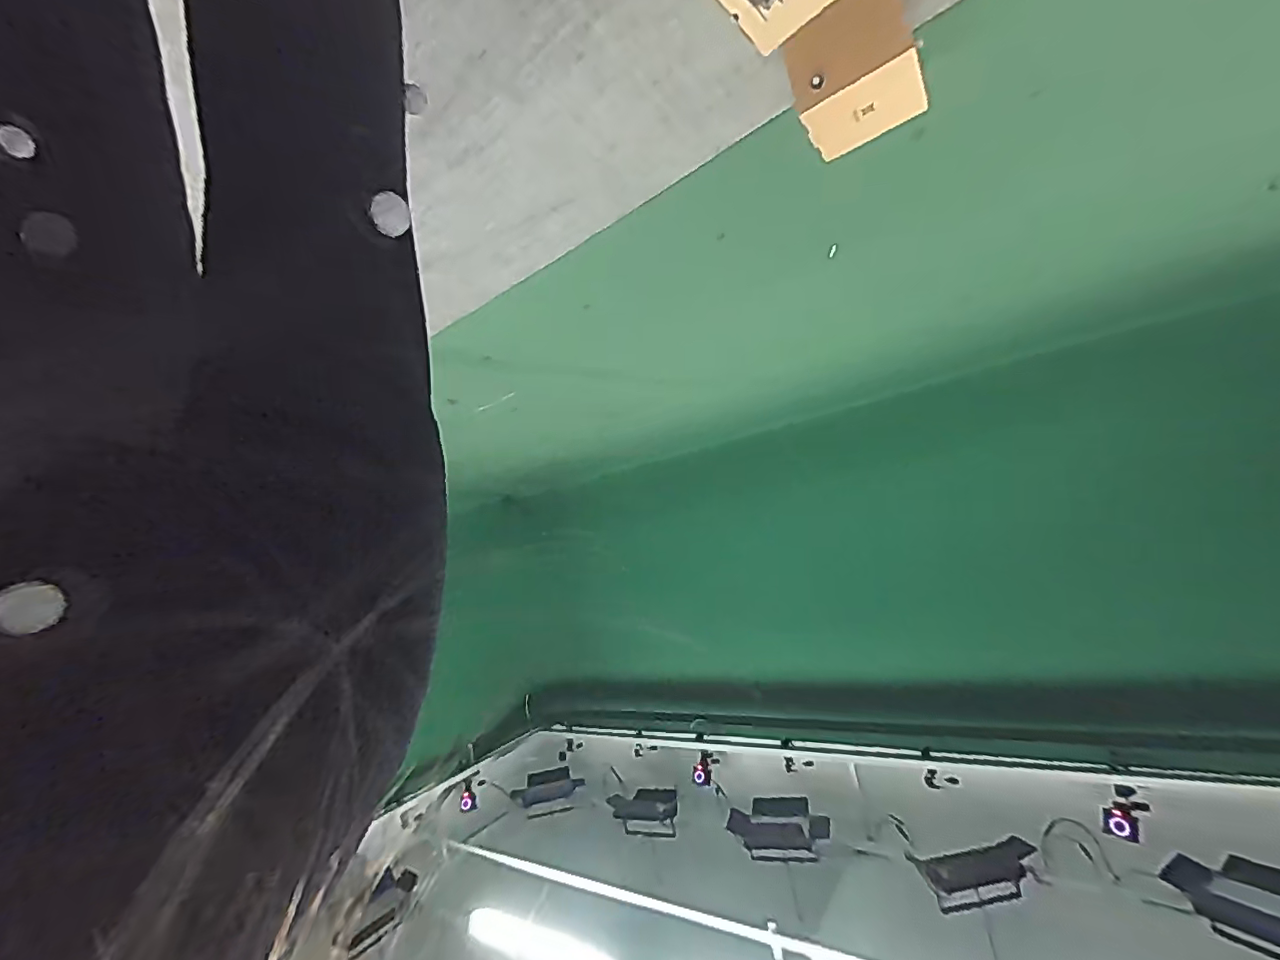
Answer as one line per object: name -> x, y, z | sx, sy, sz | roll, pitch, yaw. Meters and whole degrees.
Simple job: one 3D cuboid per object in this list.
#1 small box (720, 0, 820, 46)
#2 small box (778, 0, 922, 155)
small box -> 0.160, -0.686, 0.634 | 0.179, 0.176, 0.168 | -16, 173, 39
small box -> 0.347, -0.698, 0.898 | 0.179, 0.176, 0.168 | -14, 173, 34
